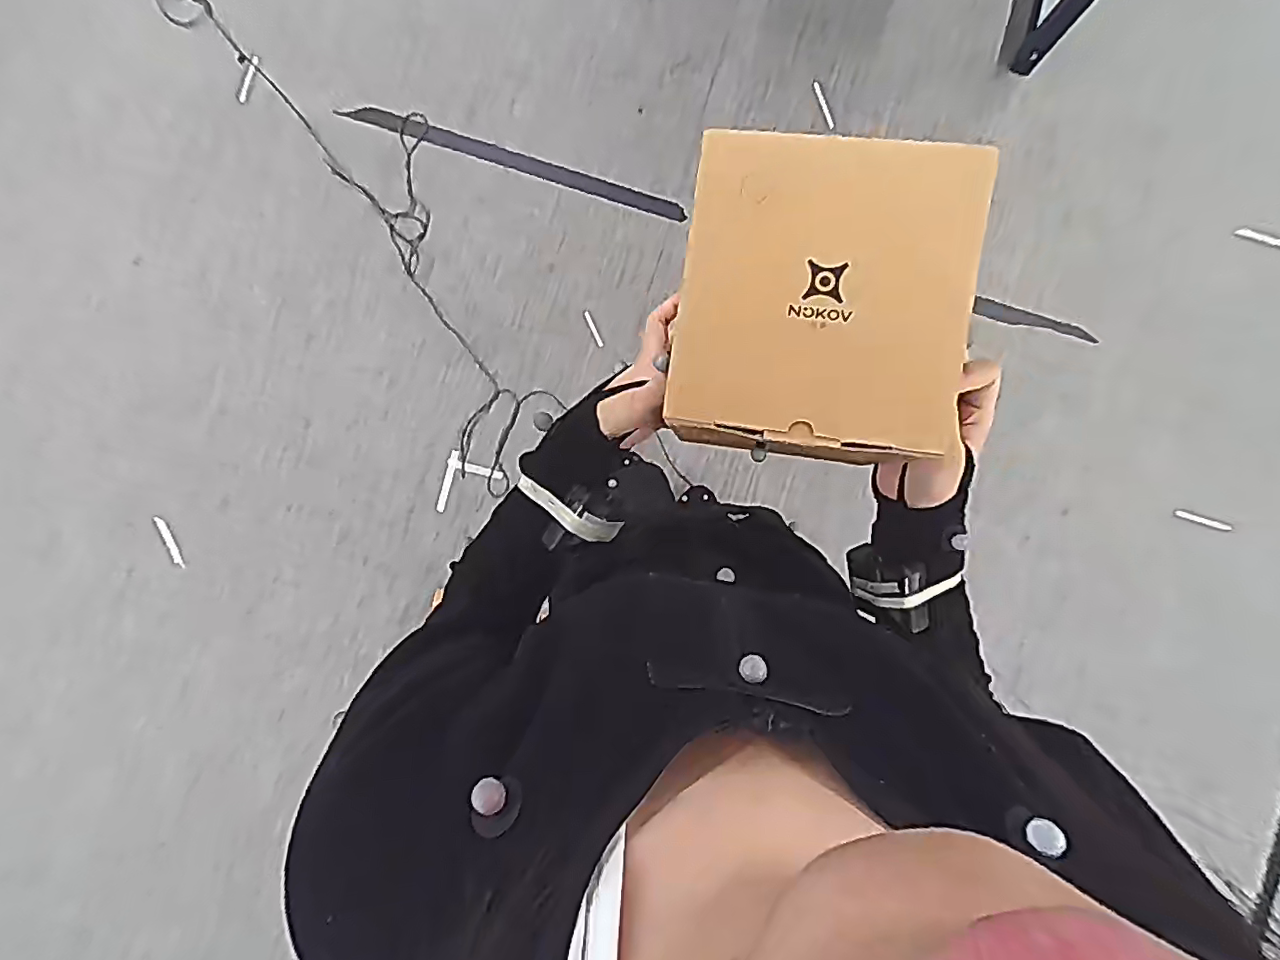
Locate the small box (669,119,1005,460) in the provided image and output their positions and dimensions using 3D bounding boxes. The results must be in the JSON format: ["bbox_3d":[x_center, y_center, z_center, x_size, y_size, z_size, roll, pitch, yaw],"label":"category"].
[{"bbox_3d":[0.117,-0.112,0.384,0.168,0.176,0.179,8,92,7],"label":"small box"}]
